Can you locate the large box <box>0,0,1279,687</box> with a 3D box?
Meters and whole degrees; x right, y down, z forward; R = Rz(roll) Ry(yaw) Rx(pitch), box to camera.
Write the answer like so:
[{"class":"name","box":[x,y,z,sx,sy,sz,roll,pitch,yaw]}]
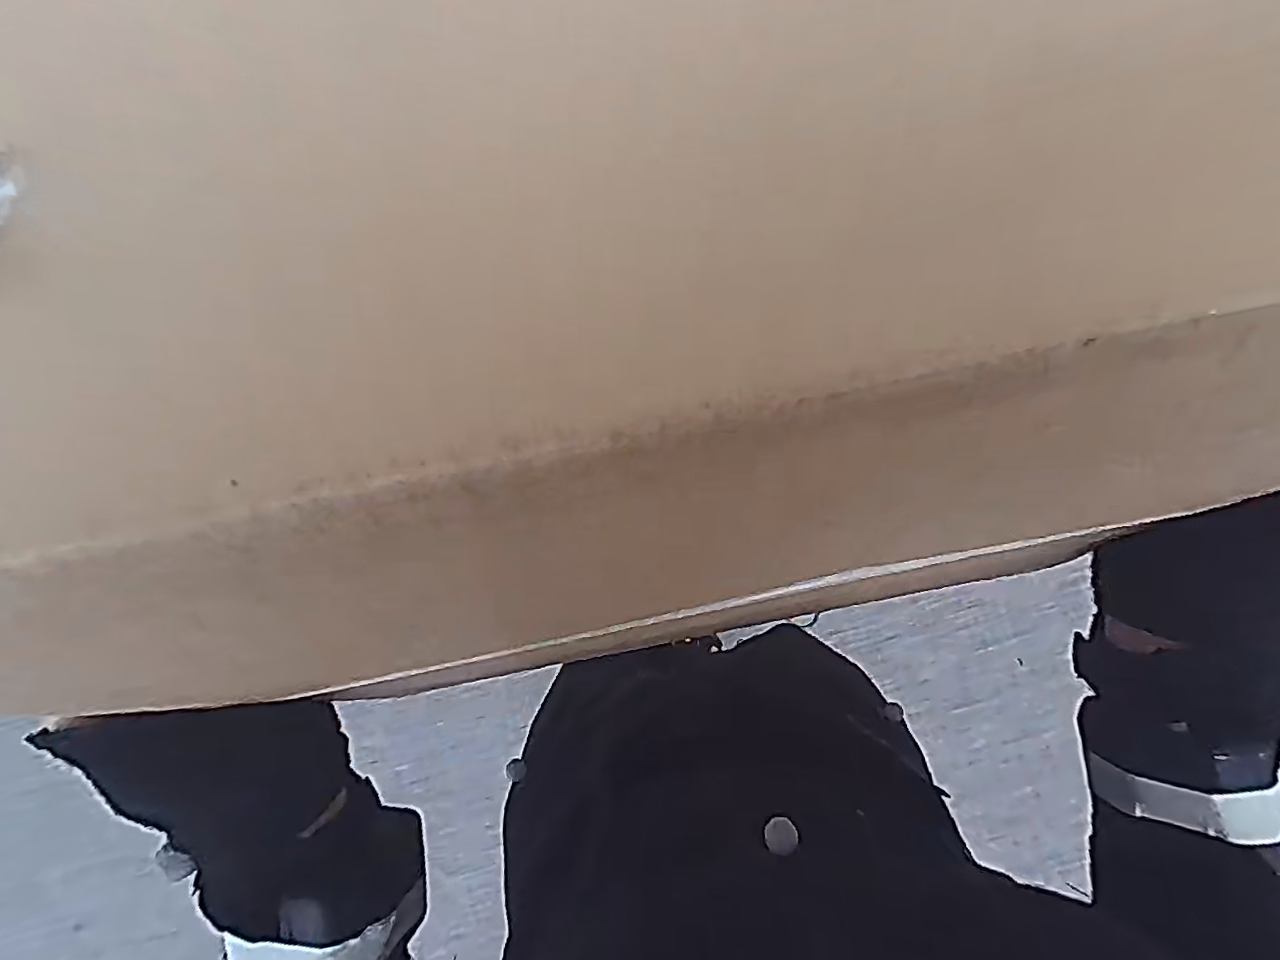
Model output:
[{"class":"large box","box":[0.009,-0.098,0.275,0.408,0.320,0.320,-11,69,0]}]
